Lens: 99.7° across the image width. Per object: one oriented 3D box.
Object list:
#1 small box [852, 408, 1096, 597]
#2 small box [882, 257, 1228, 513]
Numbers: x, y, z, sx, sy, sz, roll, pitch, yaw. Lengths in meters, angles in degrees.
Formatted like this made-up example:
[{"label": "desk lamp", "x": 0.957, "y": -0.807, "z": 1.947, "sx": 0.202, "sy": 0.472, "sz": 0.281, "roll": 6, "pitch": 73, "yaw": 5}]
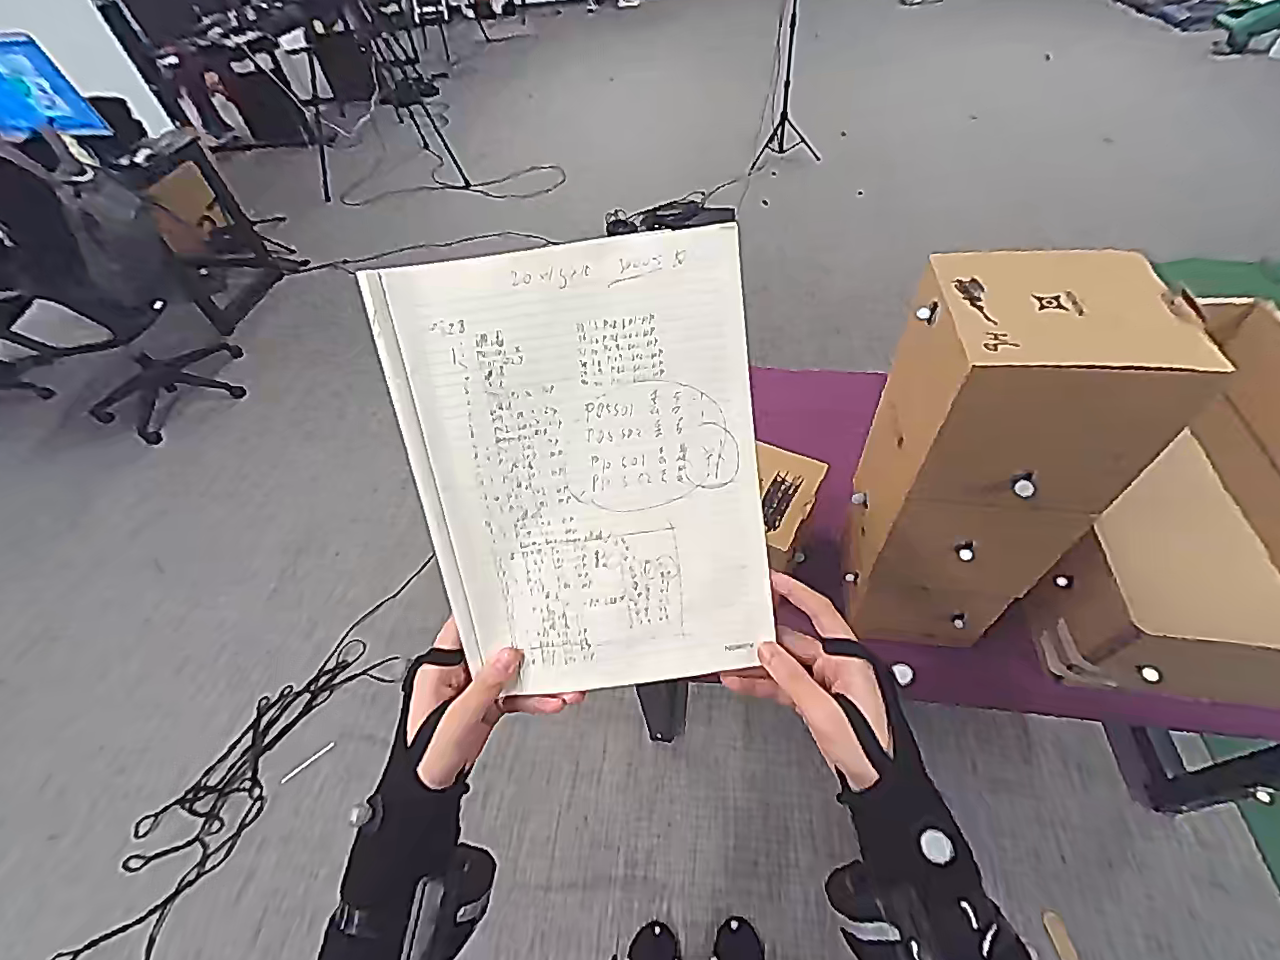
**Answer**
[{"label": "small box", "x": 0.360, "y": 0.021, "z": 0.627, "sx": 0.179, "sy": 0.176, "sz": 0.168, "roll": 4, "pitch": 50, "yaw": 10}, {"label": "small box", "x": 0.346, "y": -0.085, "z": 0.501, "sx": 0.179, "sy": 0.176, "sz": 0.168, "roll": 4, "pitch": 49, "yaw": 9}]
